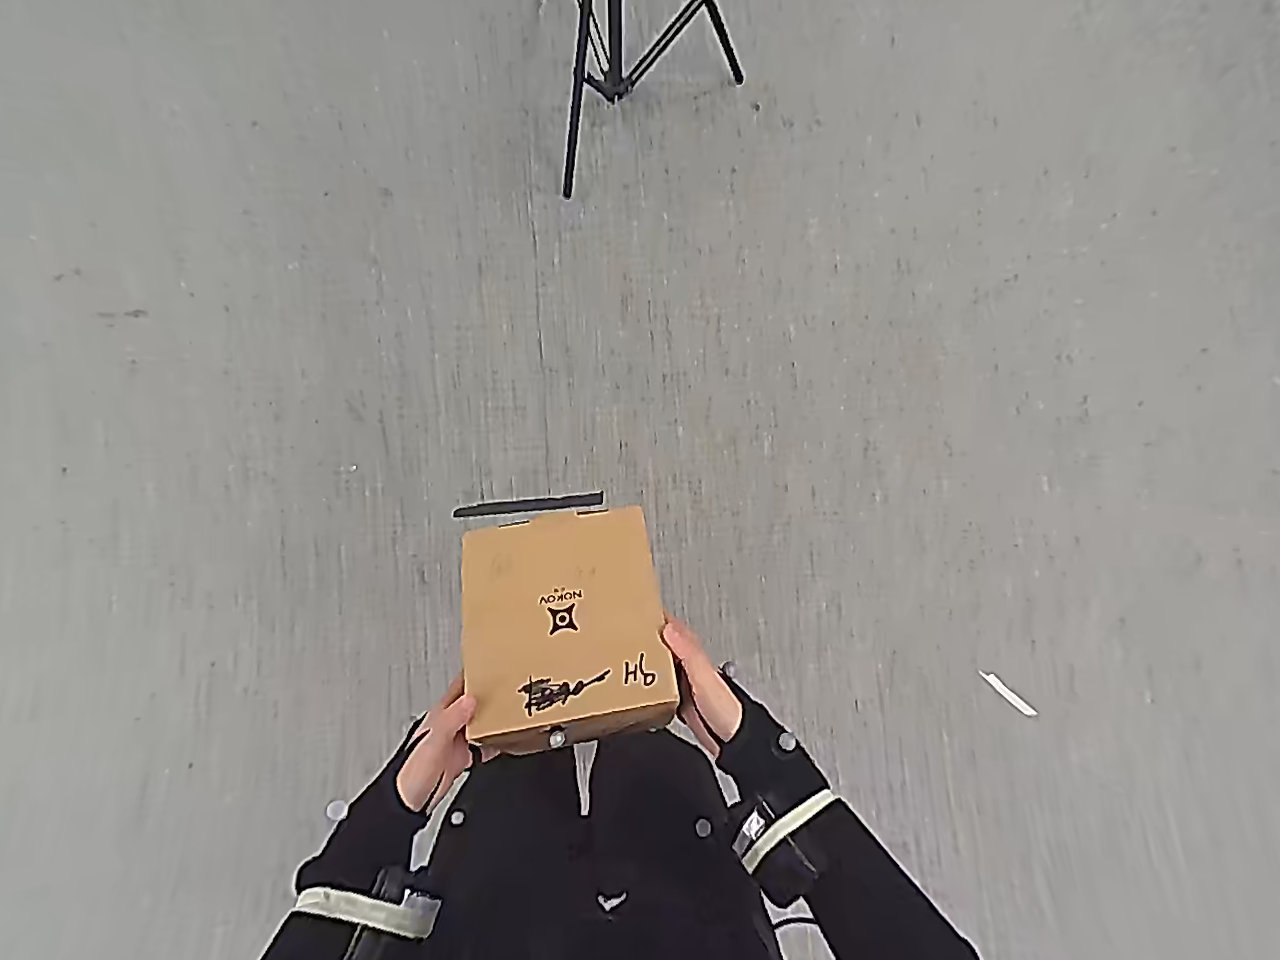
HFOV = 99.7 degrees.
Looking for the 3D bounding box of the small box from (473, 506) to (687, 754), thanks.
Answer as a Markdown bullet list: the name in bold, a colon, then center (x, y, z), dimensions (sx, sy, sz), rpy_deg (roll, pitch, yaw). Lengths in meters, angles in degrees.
- **small box**: center (-0.058, 0.149, 0.520), dimensions (0.168, 0.176, 0.179), rpy_deg (-9, 60, -5)
